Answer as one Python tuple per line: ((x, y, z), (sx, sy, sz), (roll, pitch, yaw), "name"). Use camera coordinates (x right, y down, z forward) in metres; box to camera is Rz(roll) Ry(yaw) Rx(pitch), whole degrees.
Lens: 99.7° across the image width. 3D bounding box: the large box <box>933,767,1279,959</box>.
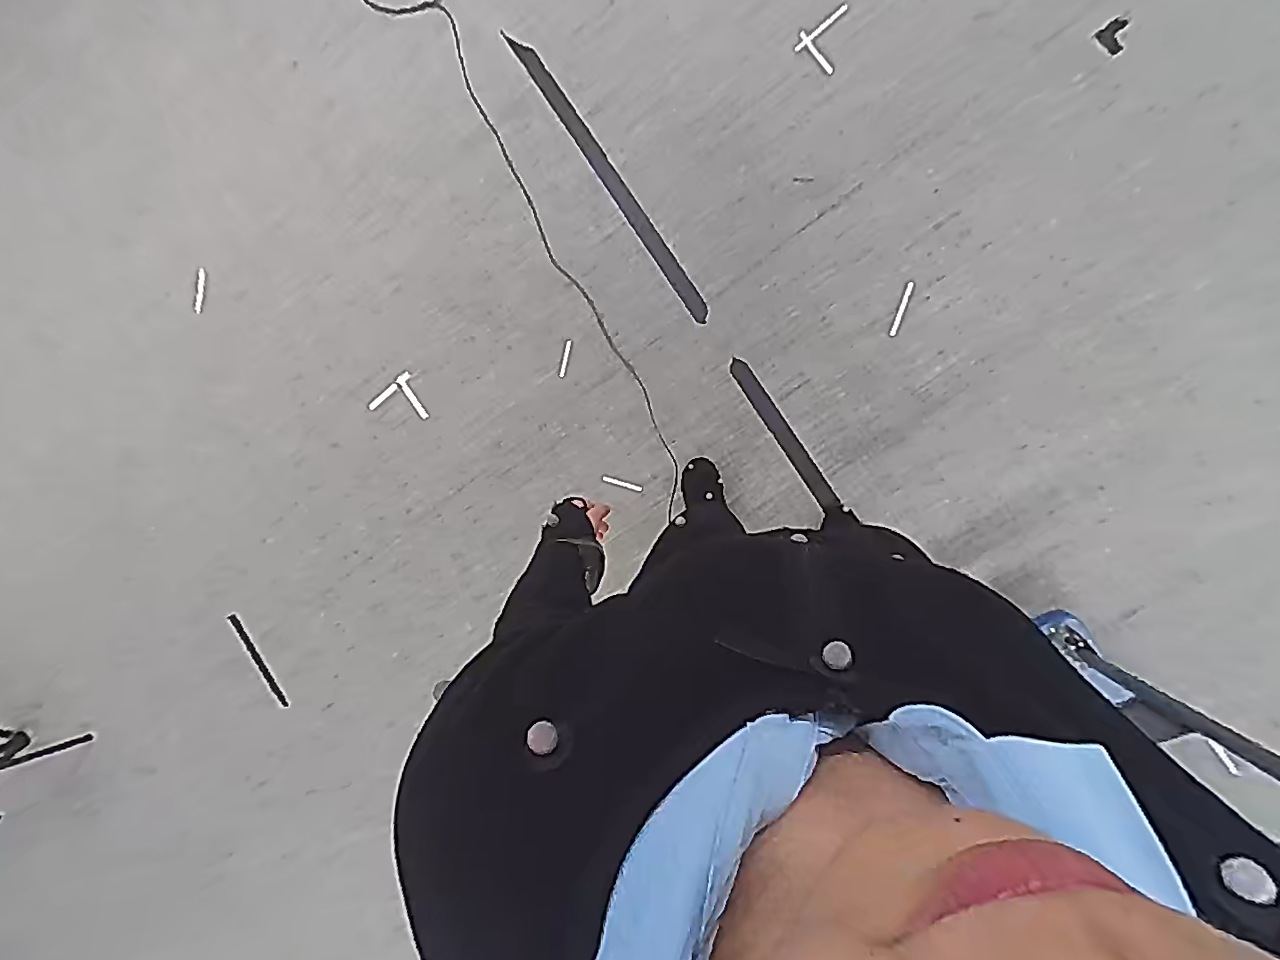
((0.865, 0.834, 1.024), (0.408, 0.320, 0.320), (-30, 86, 10), "large box")
